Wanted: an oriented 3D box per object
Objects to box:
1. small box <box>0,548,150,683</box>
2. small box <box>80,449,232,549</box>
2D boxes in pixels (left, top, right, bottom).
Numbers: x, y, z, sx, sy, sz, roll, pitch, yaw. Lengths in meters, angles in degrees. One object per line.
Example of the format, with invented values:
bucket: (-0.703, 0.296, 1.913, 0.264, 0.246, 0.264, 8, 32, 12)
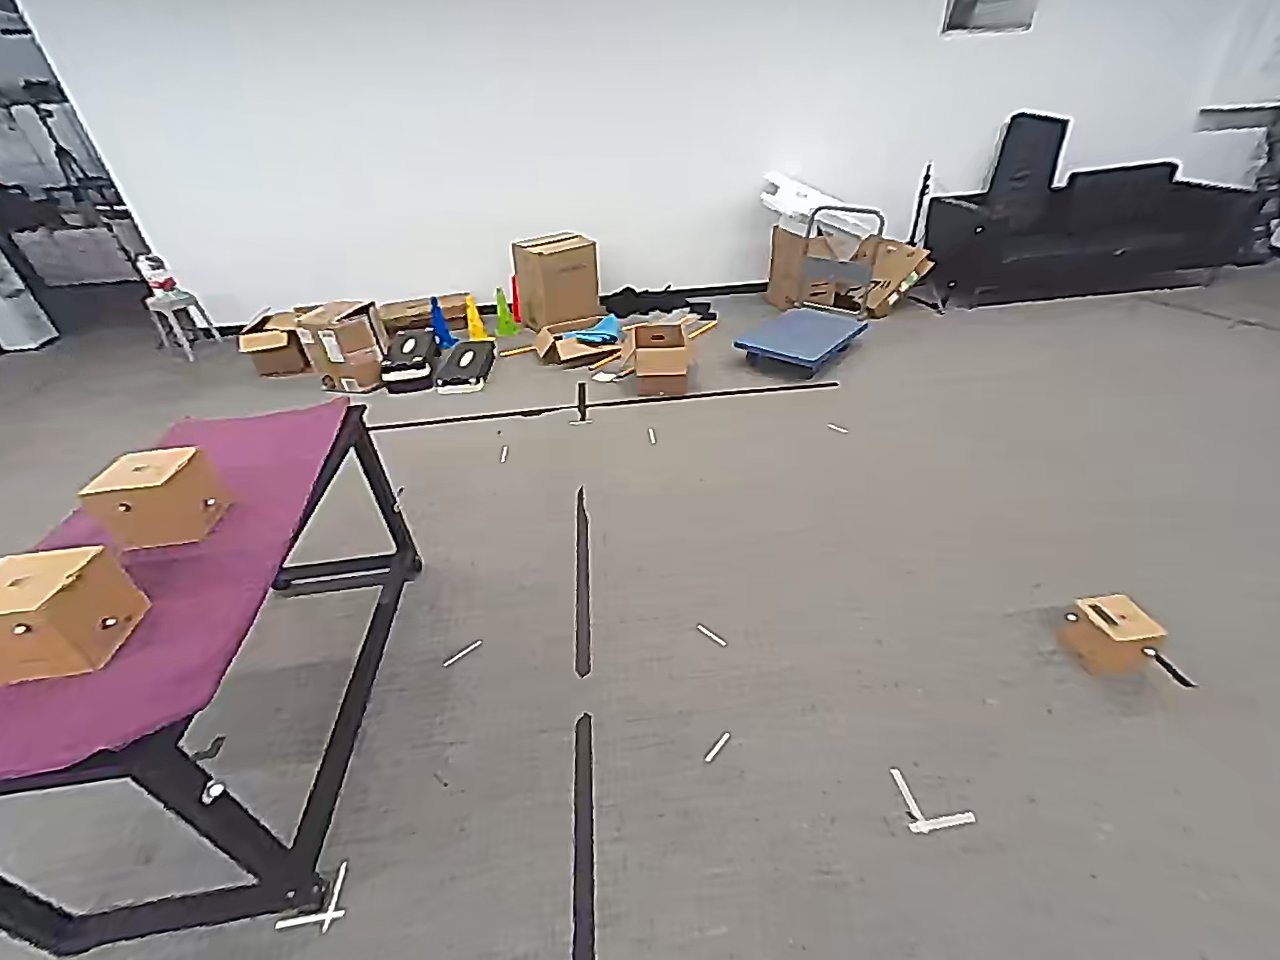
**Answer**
small box: (-1.081, 0.250, 0.996, 0.179, 0.176, 0.168, -7, 35, -6)
small box: (-1.130, 0.048, 1.281, 0.179, 0.176, 0.168, -7, 36, -5)
